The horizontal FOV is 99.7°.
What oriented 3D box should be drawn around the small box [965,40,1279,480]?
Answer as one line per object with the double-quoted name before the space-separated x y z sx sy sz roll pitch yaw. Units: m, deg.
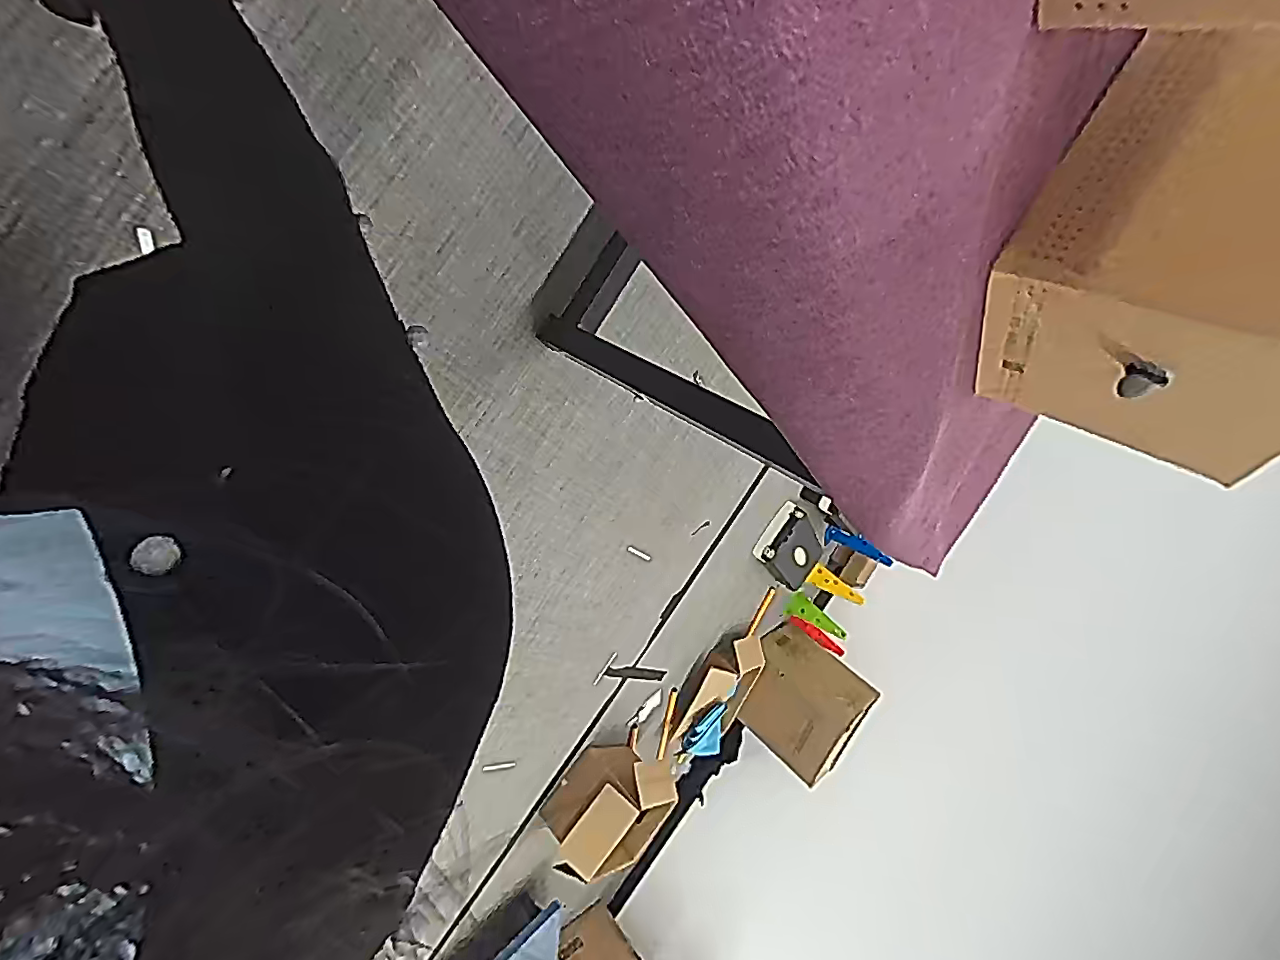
"small box" 0.335 -0.132 0.344 0.179 0.176 0.168 -57 147 0
